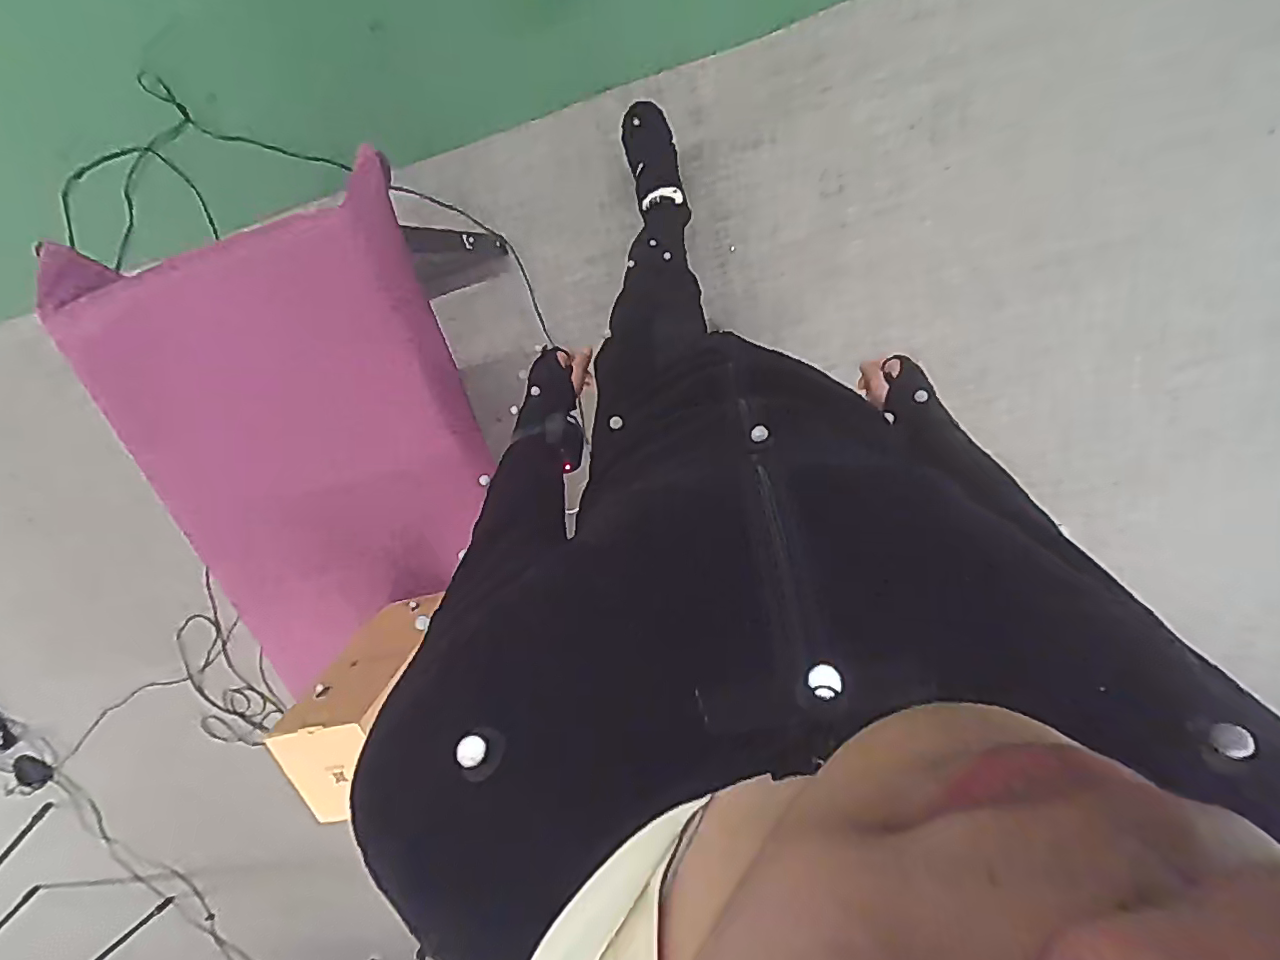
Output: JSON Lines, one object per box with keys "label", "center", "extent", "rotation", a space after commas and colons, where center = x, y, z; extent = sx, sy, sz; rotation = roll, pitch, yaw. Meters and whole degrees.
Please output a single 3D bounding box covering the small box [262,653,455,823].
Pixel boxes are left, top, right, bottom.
{"label": "small box", "center": [-0.420, 0.389, 0.840], "extent": [0.168, 0.176, 0.179], "rotation": [-13, 109, 12]}
